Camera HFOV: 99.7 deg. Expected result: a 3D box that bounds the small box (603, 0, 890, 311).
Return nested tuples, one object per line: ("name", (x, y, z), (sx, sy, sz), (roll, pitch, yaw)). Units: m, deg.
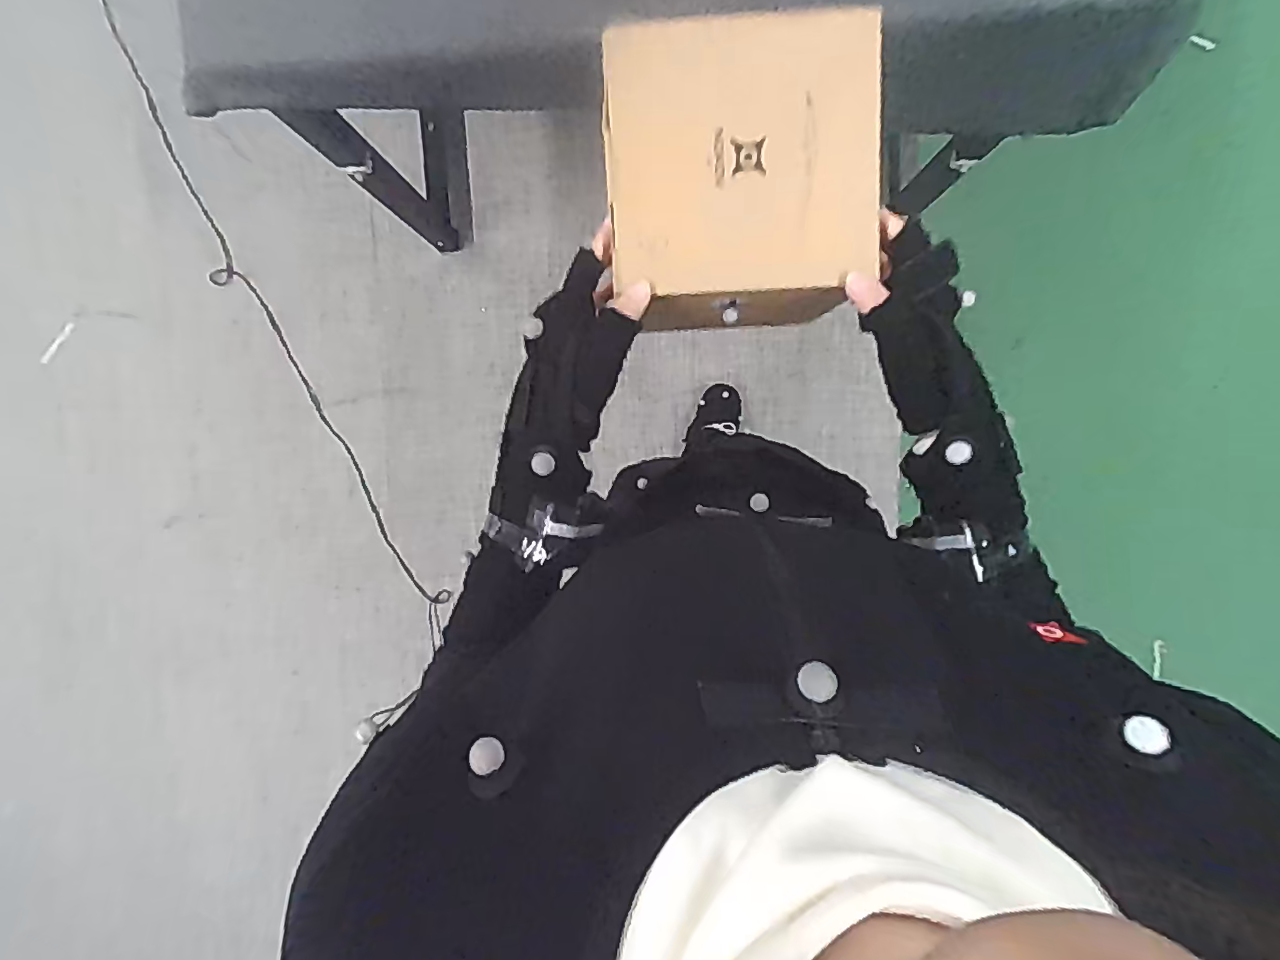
("small box", (0.072, -0.232, 0.418), (0.179, 0.176, 0.168), (-4, 99, 2))
